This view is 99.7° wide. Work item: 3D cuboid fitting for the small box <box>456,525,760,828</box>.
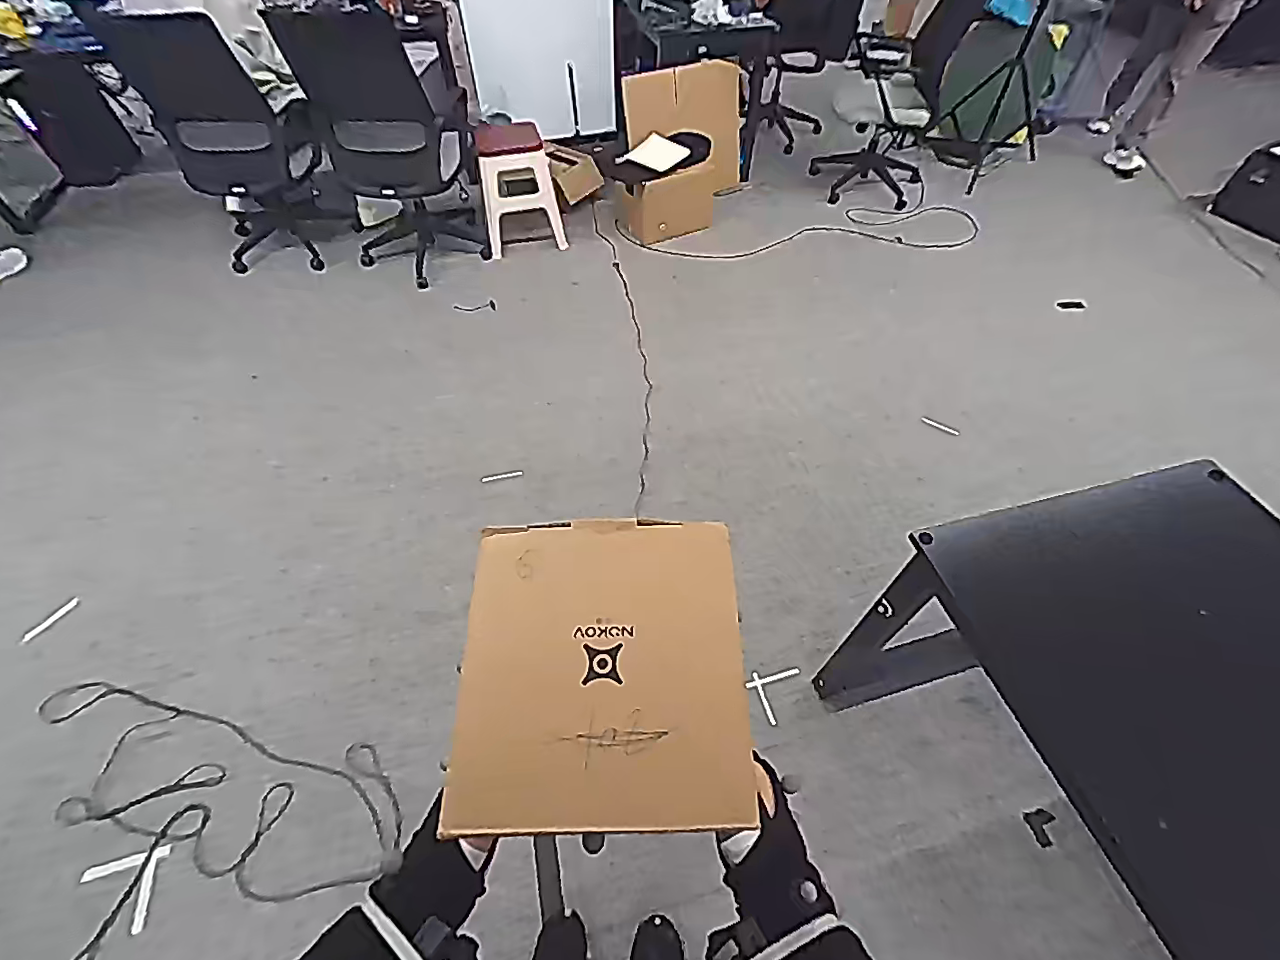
[{"bbox_3d":[-0.019,0.147,0.397,0.168,0.176,0.179,-2,61,0],"label":"small box"}]
